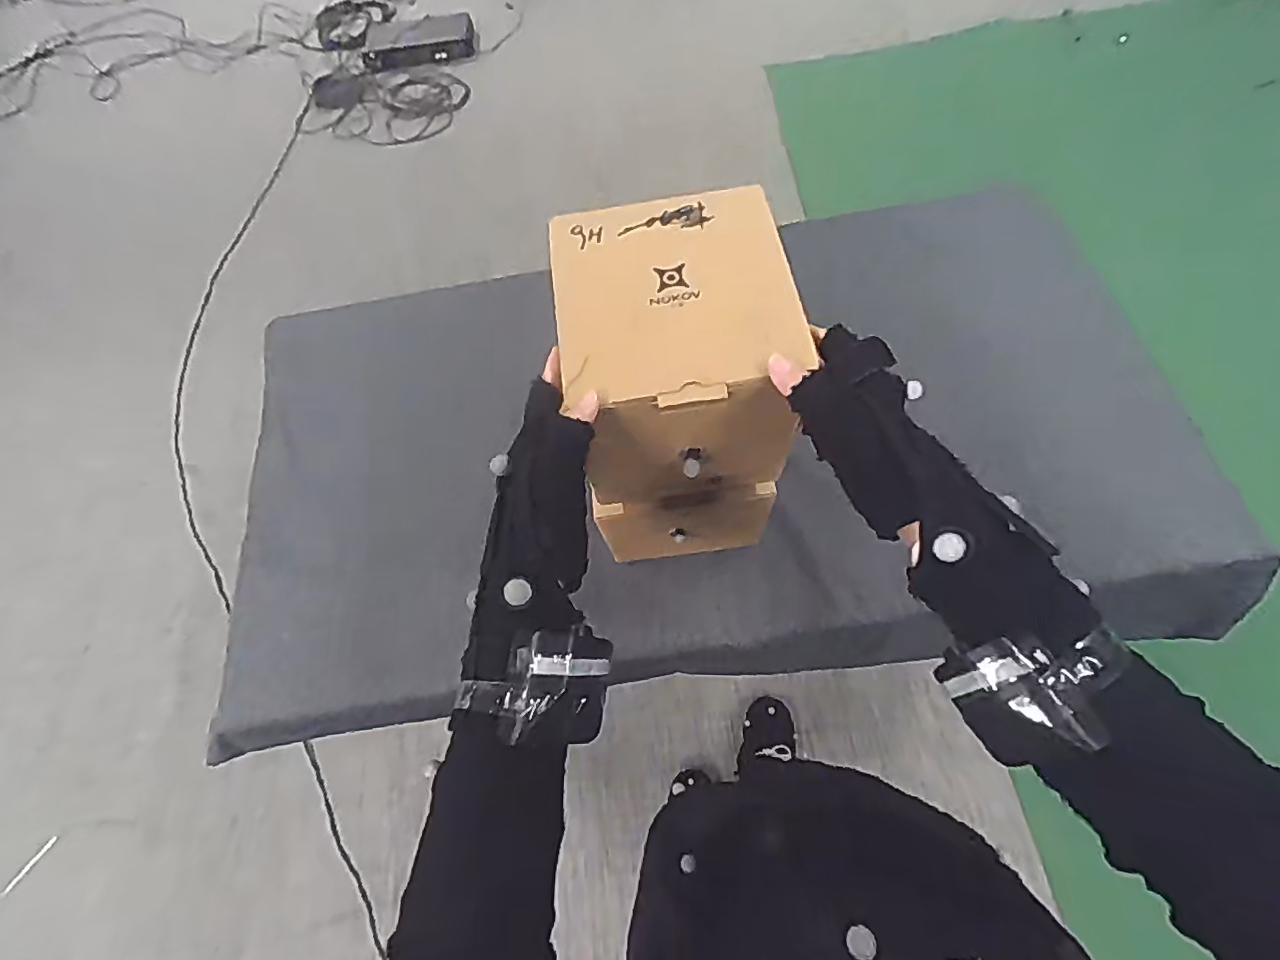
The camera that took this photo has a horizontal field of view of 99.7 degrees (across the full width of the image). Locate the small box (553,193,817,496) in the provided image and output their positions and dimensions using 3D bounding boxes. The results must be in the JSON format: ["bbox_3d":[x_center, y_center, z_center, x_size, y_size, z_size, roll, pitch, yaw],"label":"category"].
[{"bbox_3d":[0.030,-0.096,0.450,0.168,0.176,0.179,-9,67,1],"label":"small box"}]

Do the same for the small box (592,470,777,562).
[{"bbox_3d":[0.043,-0.014,0.614,0.179,0.176,0.168,-8,66,3],"label":"small box"}]
